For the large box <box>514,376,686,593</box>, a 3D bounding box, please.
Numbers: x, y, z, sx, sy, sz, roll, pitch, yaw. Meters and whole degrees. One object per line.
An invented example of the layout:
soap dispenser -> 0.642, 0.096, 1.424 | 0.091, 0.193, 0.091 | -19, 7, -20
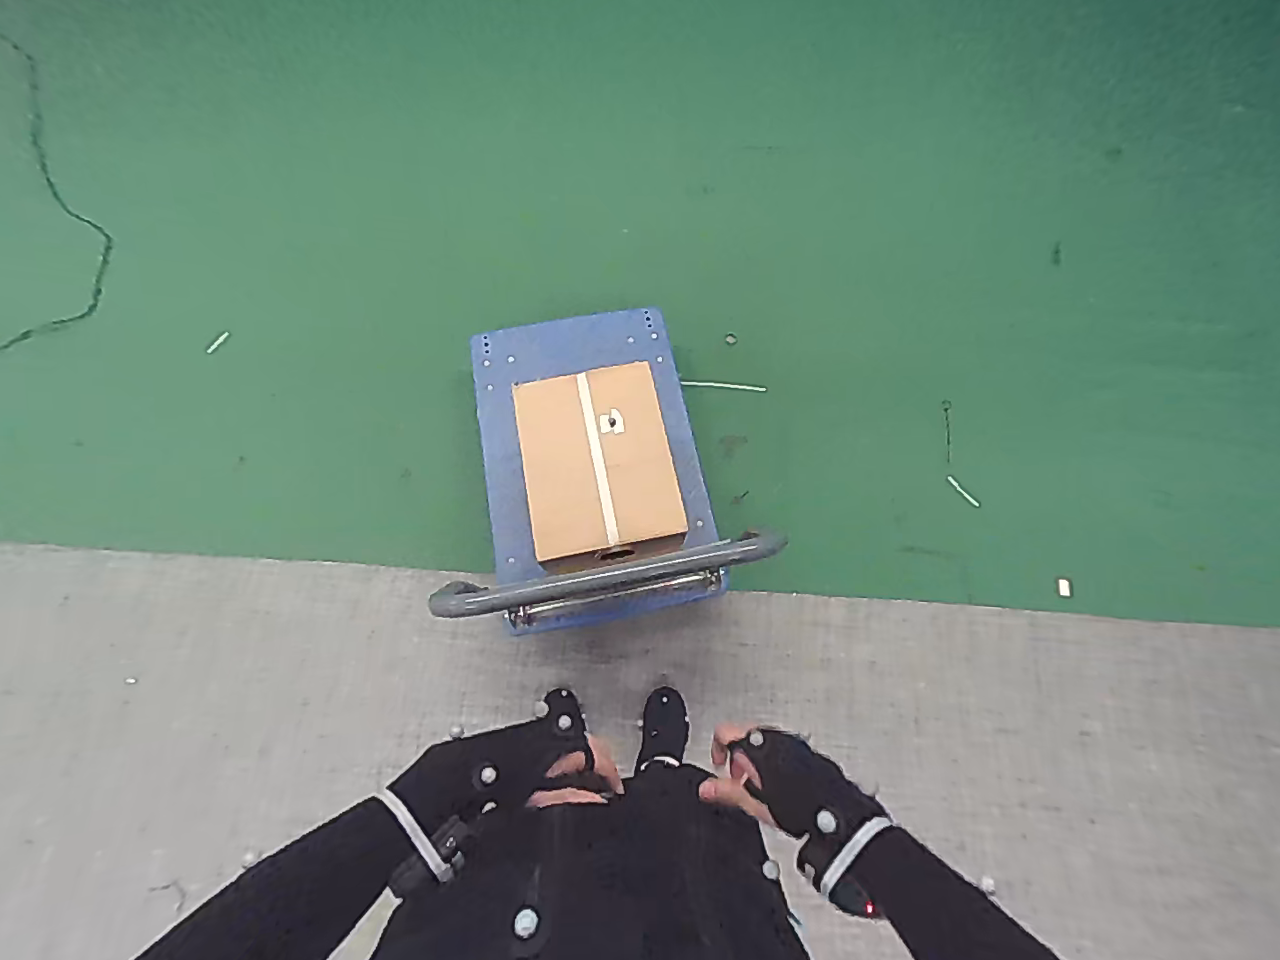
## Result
large box -> -0.092, 0.023, 1.299 | 0.320, 0.320, 0.408 | -11, 70, -4
